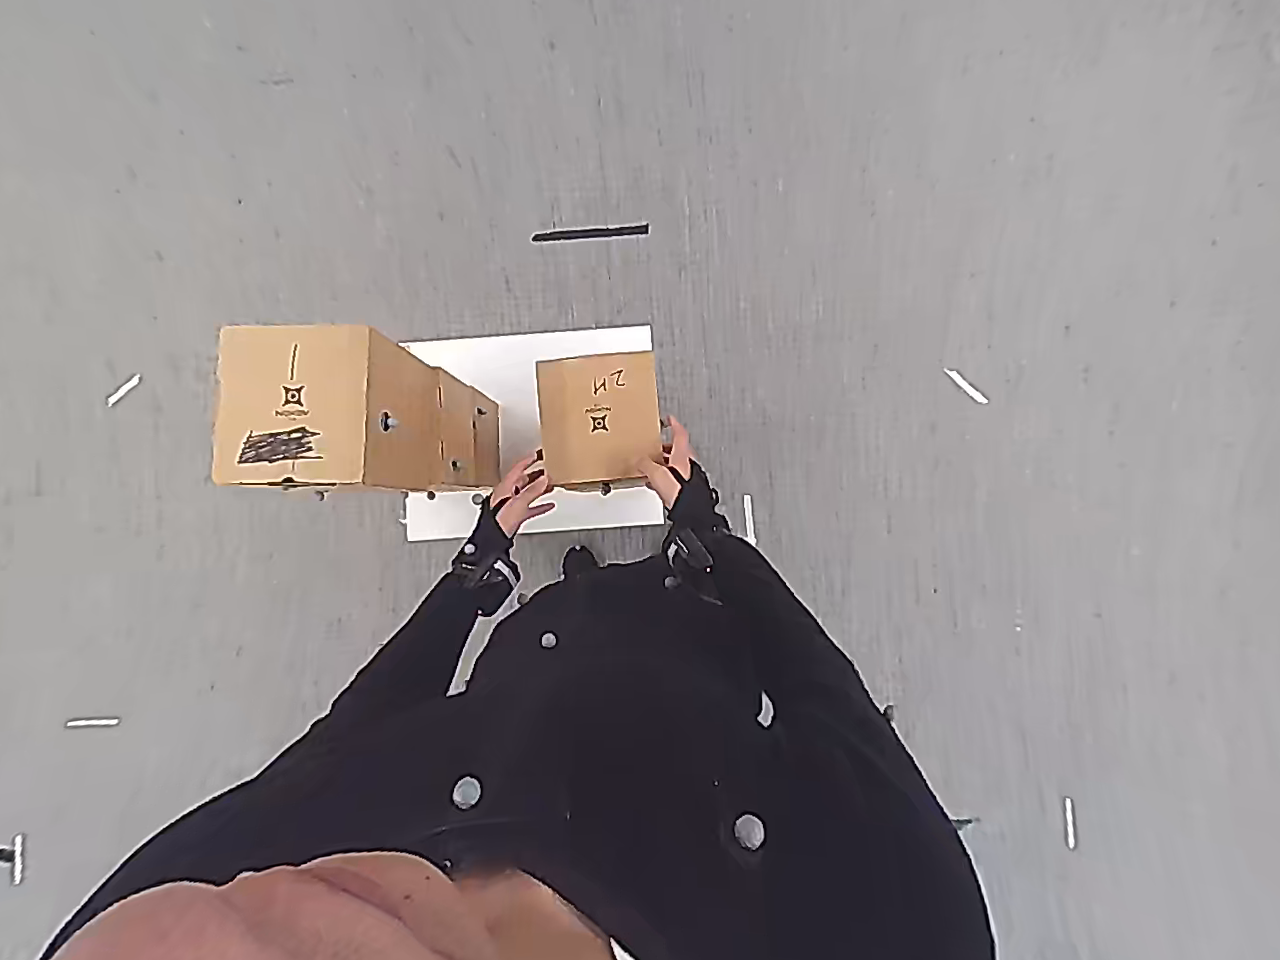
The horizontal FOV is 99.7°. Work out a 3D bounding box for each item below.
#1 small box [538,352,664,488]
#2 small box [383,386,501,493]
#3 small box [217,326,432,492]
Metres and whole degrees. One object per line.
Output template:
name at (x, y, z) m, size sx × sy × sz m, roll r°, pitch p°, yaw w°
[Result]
small box at (-0.051, -0.080, 0.818) m, size 0.168 × 0.176 × 0.179 m, roll -5°, pitch 87°, yaw 1°
small box at (-0.356, -0.066, 0.988) m, size 0.168 × 0.176 × 0.179 m, roll -3°, pitch 87°, yaw 0°
small box at (-0.367, -0.075, 0.659) m, size 0.168 × 0.176 × 0.179 m, roll 0°, pitch 86°, yaw 1°
